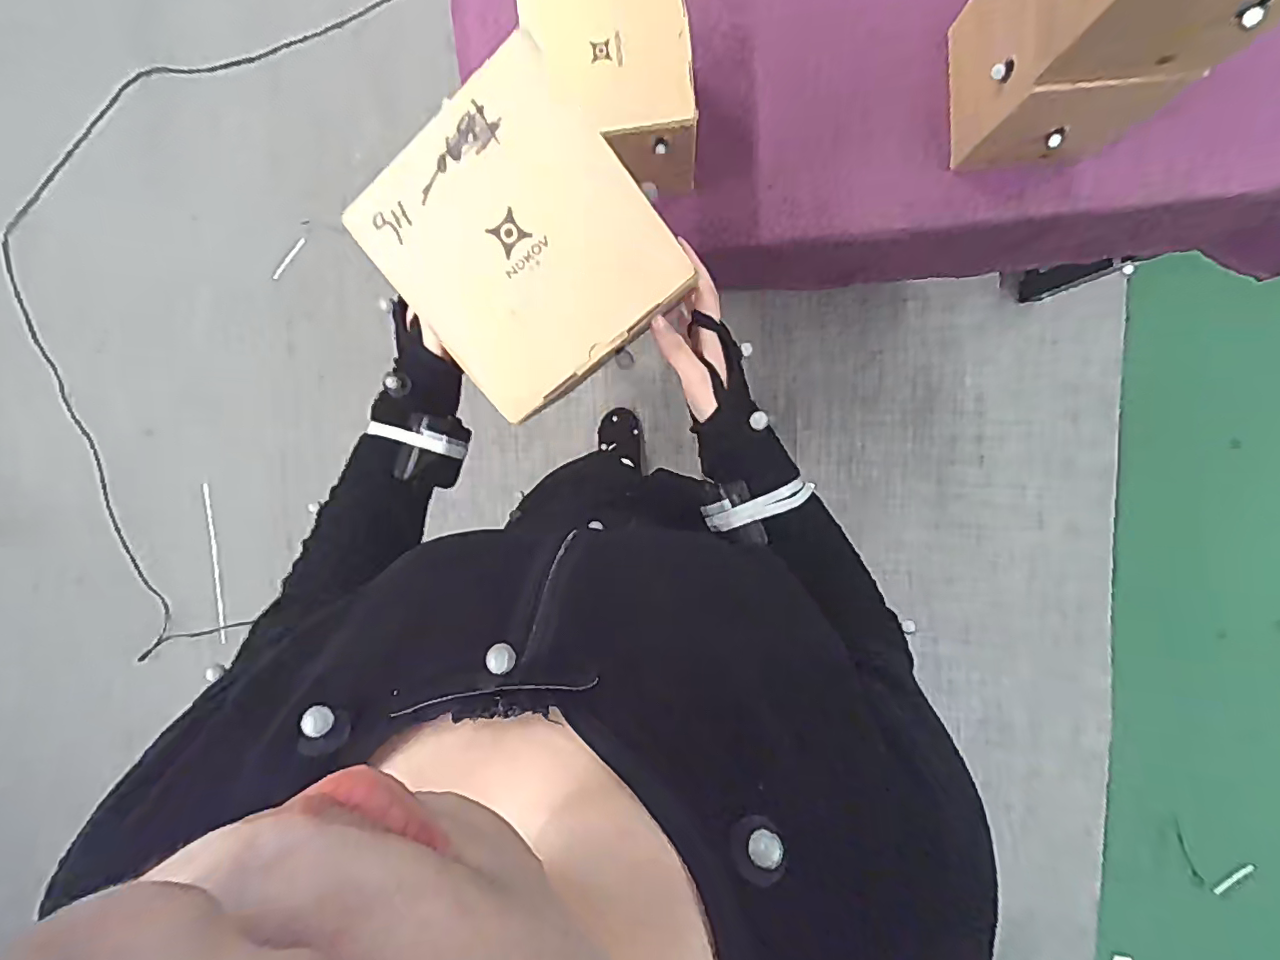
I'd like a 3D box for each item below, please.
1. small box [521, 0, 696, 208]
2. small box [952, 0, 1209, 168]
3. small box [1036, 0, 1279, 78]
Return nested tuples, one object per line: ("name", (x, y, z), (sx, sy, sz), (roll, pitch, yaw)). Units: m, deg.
("small box", (-0.027, -0.449, 0.646), (0.179, 0.176, 0.168), (-6, 93, 4))
("small box", (0.473, -0.473, 0.604), (0.168, 0.176, 0.179), (-3, 94, 4))
("small box", (0.461, -0.465, 0.441), (0.168, 0.176, 0.179), (-1, 94, 4))
